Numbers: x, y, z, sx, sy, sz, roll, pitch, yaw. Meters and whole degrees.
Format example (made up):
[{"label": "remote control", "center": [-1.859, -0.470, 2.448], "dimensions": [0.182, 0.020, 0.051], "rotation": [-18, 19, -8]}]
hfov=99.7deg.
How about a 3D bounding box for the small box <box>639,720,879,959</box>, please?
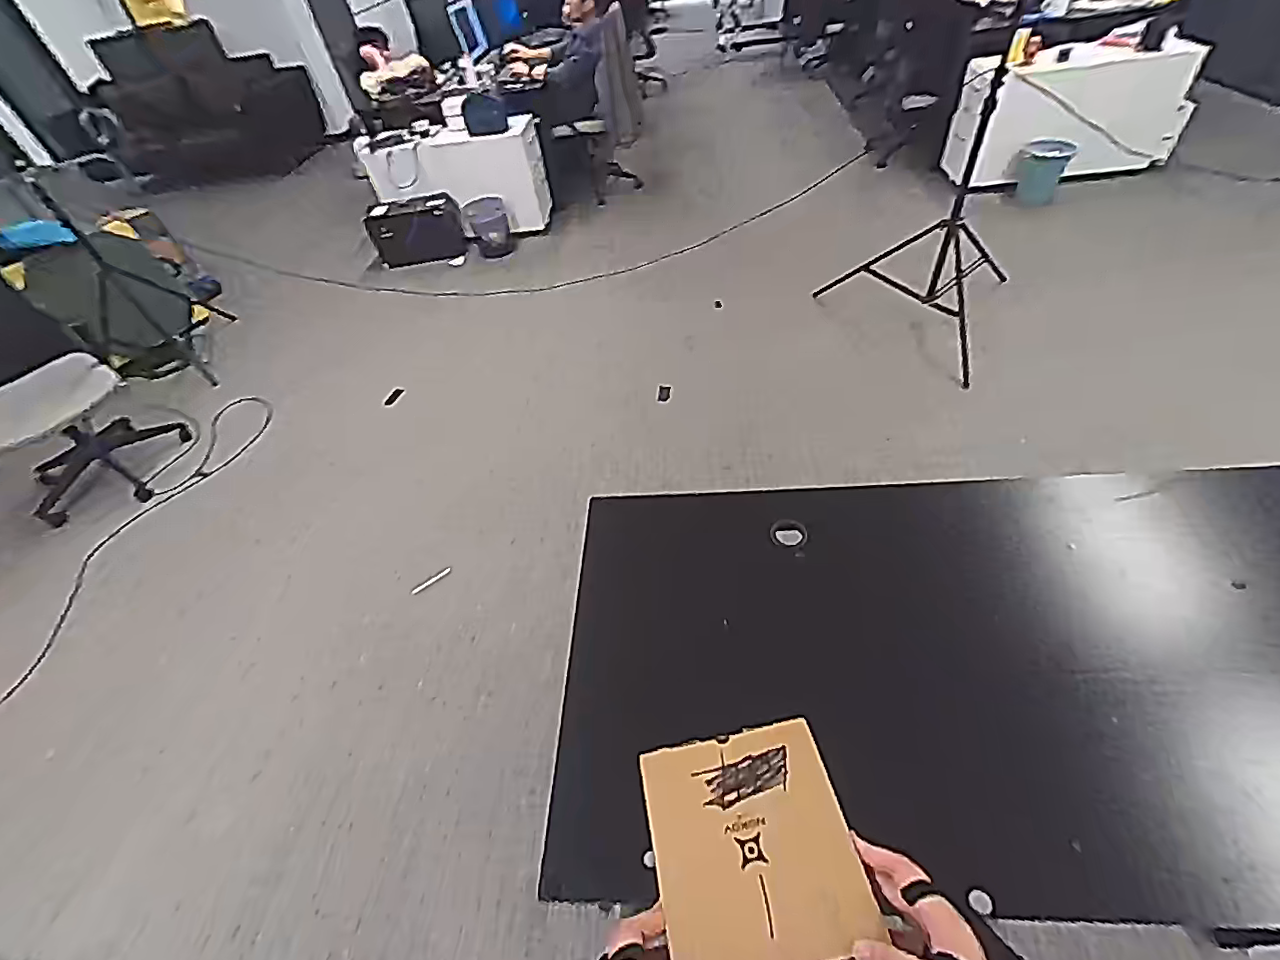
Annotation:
[{"label": "small box", "center": [0.100, 0.365, 0.519], "dimensions": [0.168, 0.176, 0.179], "rotation": [-12, 43, 0]}]
